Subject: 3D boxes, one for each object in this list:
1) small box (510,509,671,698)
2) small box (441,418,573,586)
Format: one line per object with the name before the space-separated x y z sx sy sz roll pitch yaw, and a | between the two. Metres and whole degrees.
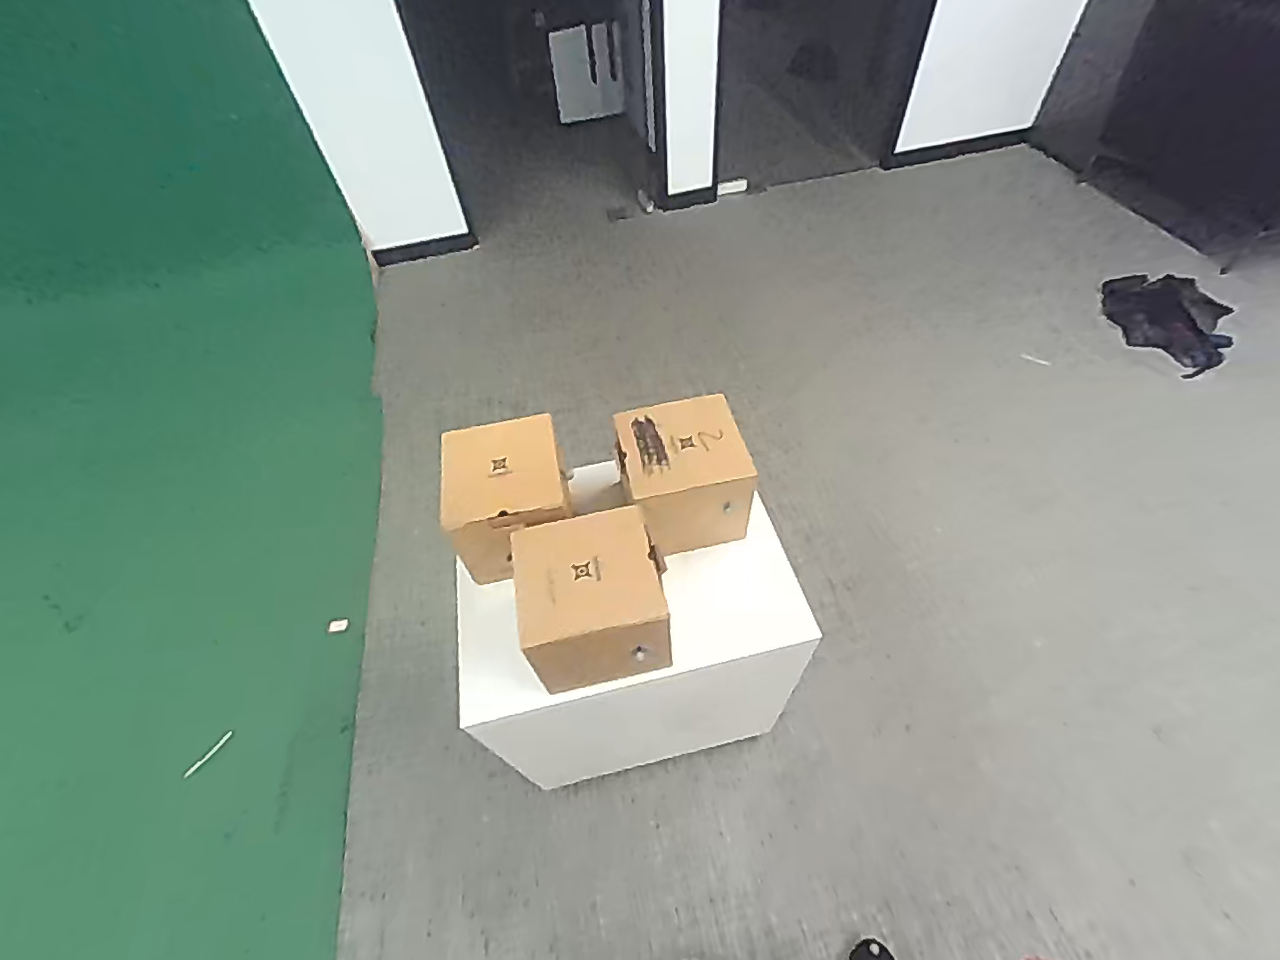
small box | -0.061 0.166 0.716 0.179 0.176 0.168 -13 50 -5
small box | -0.195 0.035 0.827 0.168 0.176 0.179 -11 53 -6
